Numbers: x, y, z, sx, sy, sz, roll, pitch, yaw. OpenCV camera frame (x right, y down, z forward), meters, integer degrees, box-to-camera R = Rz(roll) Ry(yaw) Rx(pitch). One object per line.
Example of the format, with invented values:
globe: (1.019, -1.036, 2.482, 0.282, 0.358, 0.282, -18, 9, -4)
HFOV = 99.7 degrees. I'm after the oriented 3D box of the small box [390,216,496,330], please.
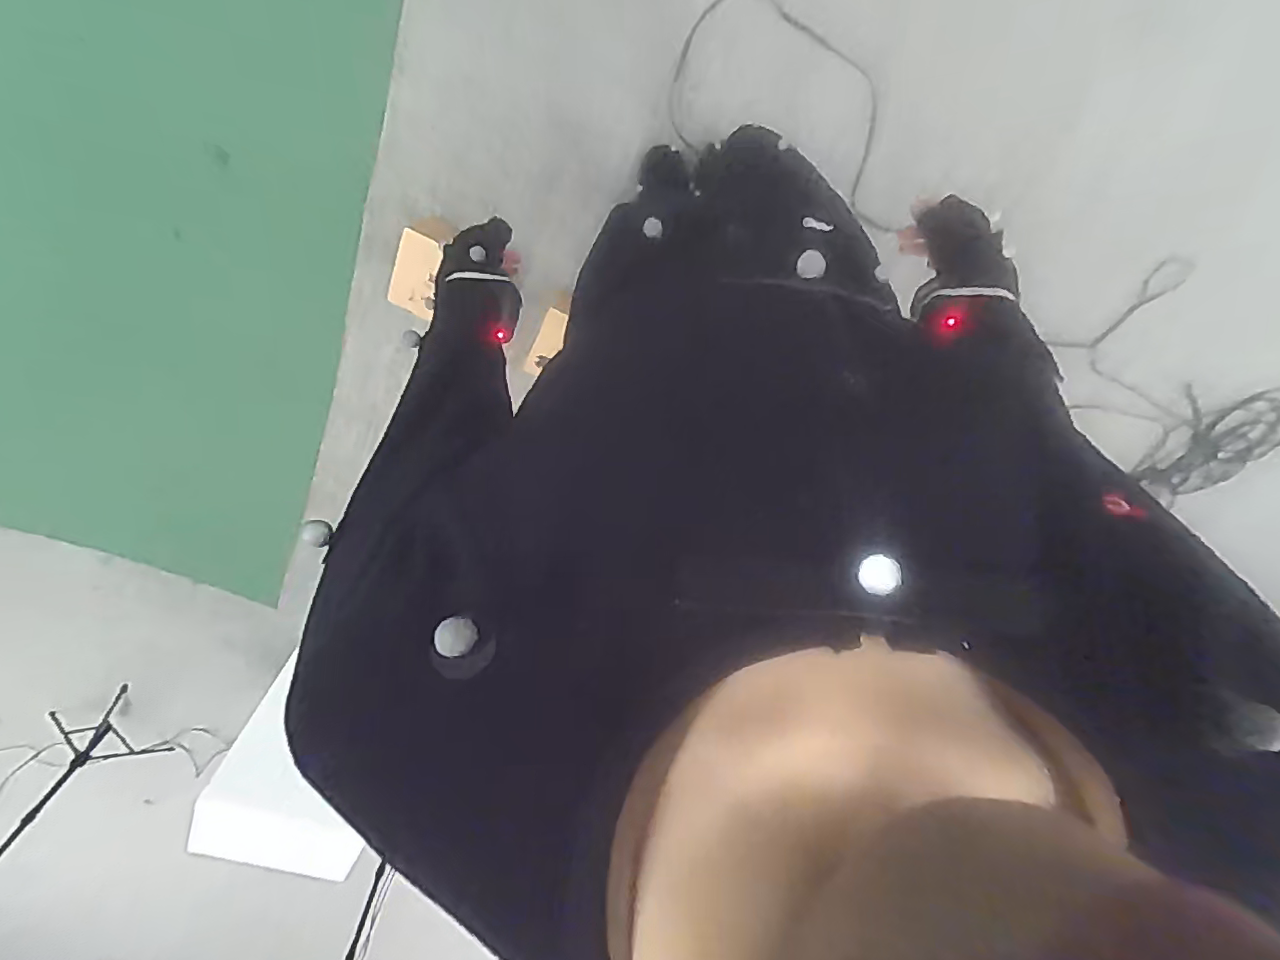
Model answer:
small box: (-0.447, -0.483, 1.249, 0.168, 0.176, 0.179, 23, 120, -14)
